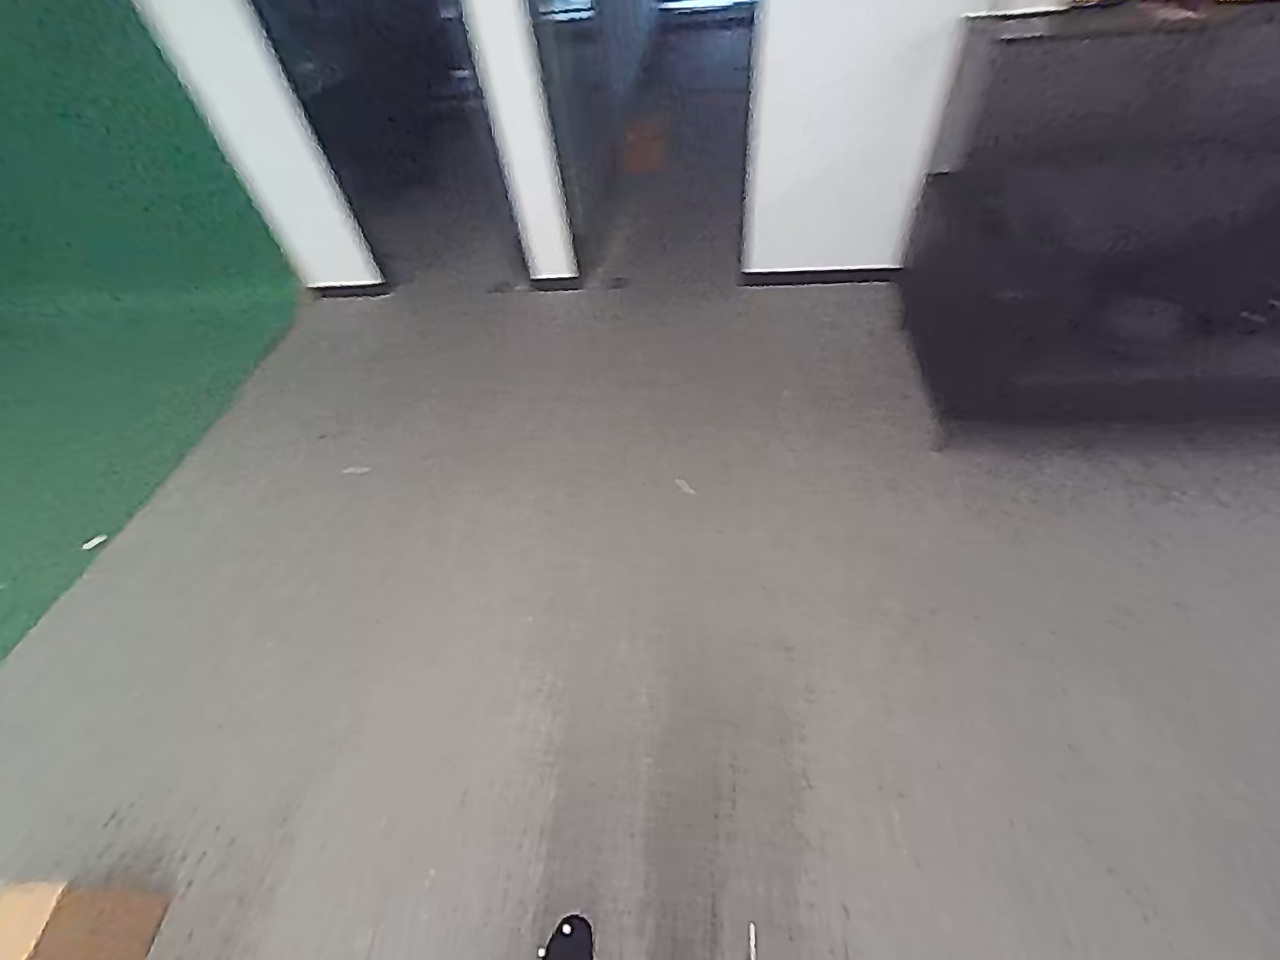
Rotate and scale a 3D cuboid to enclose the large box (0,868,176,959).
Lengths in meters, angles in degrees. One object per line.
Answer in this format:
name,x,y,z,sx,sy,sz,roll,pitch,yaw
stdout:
large box,-1.345,1.105,1.158,0.320,0.320,0.408,-4,47,2
